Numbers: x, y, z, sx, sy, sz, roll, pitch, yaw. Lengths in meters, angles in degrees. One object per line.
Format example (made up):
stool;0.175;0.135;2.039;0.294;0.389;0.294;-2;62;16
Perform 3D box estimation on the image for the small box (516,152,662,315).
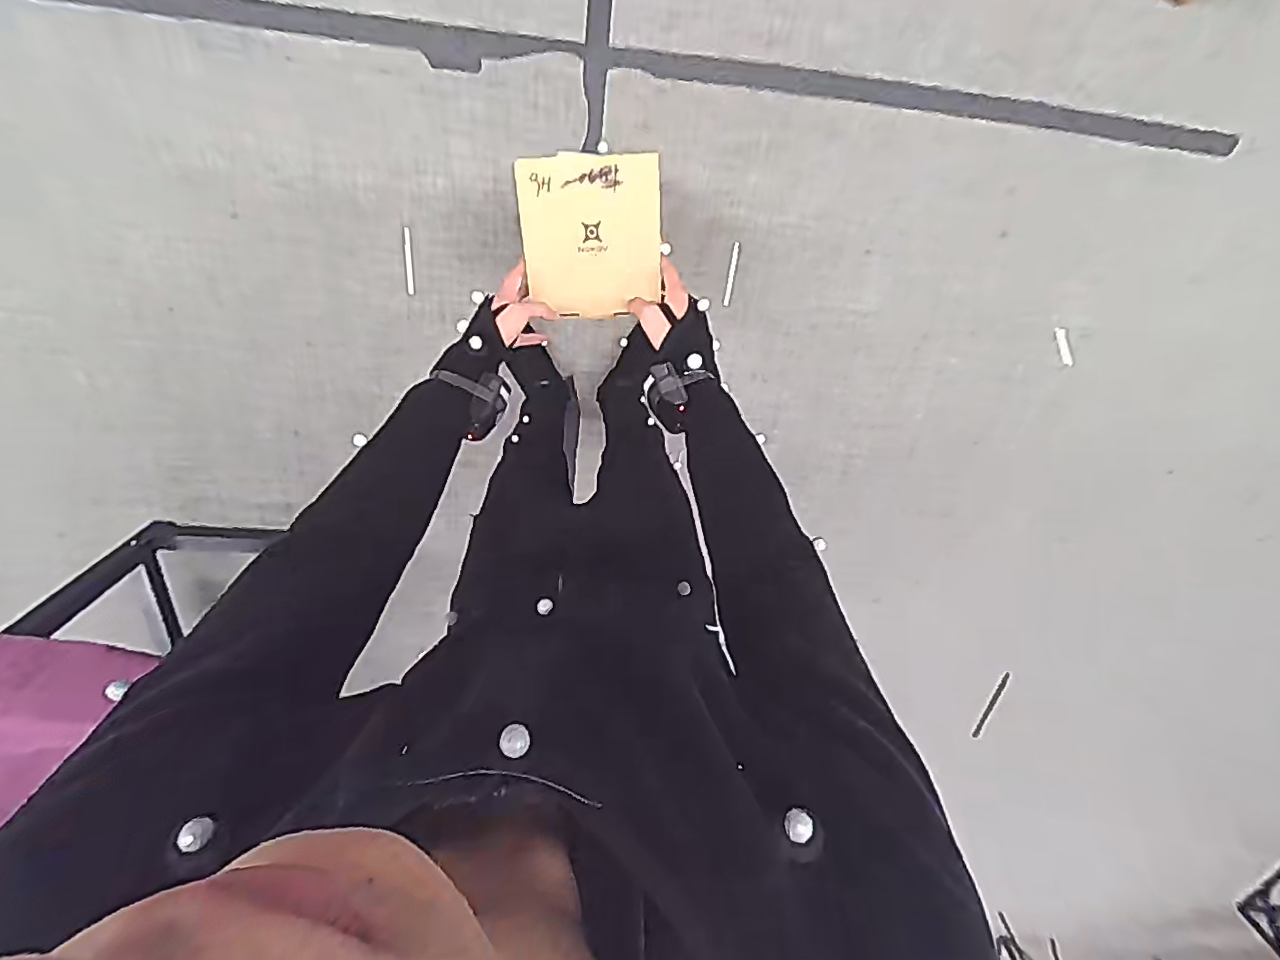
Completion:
small box;-0.054;-0.323;0.711;0.168;0.176;0.179;-1;117;2
